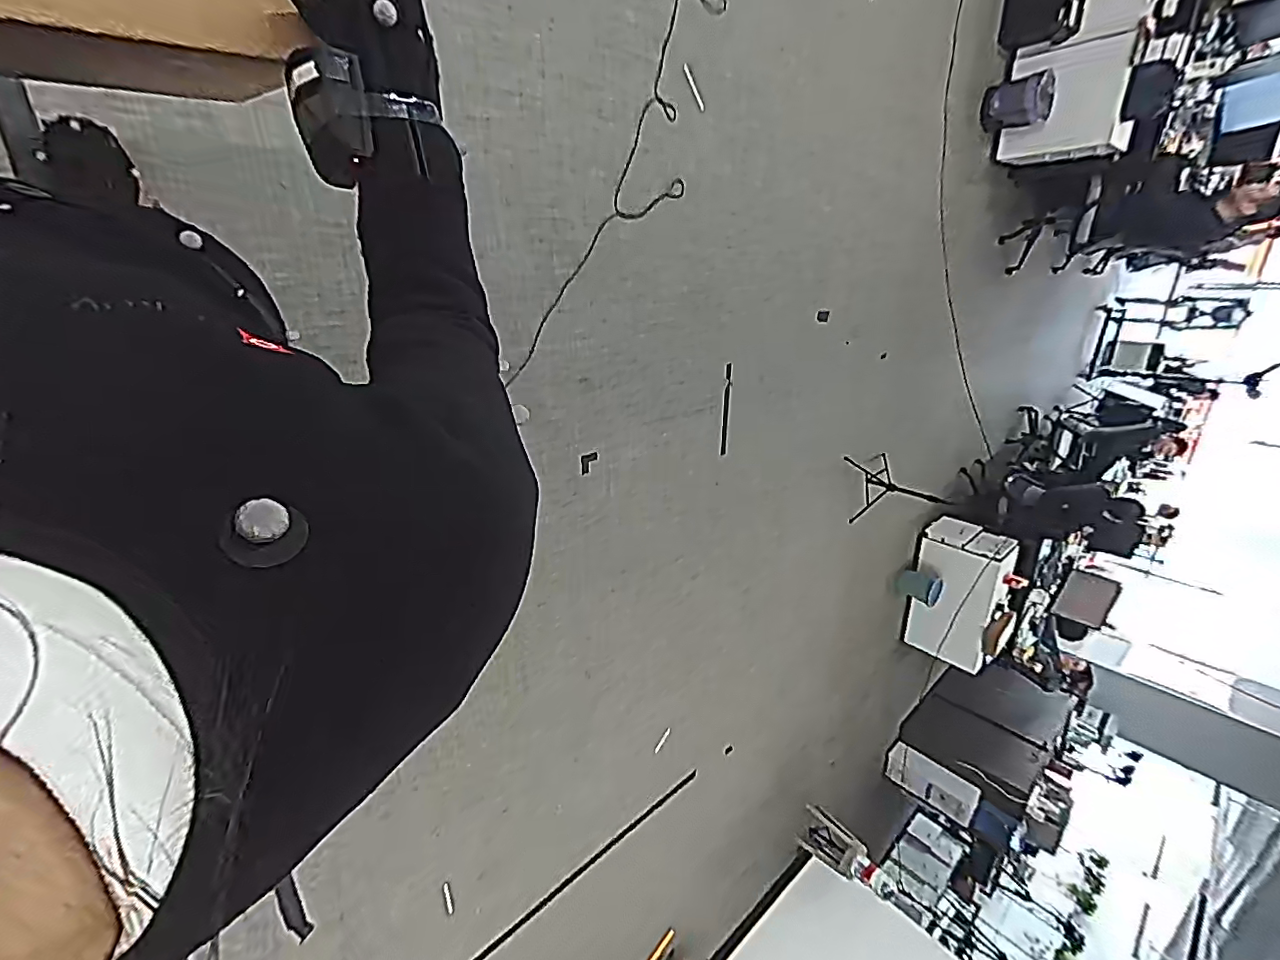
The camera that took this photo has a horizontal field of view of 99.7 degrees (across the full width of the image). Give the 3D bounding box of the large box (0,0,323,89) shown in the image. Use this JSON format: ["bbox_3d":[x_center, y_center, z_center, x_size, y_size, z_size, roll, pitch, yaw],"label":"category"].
[{"bbox_3d":[-0.452,-0.412,0.264,0.408,0.320,0.320,-22,128,-37],"label":"large box"}]
